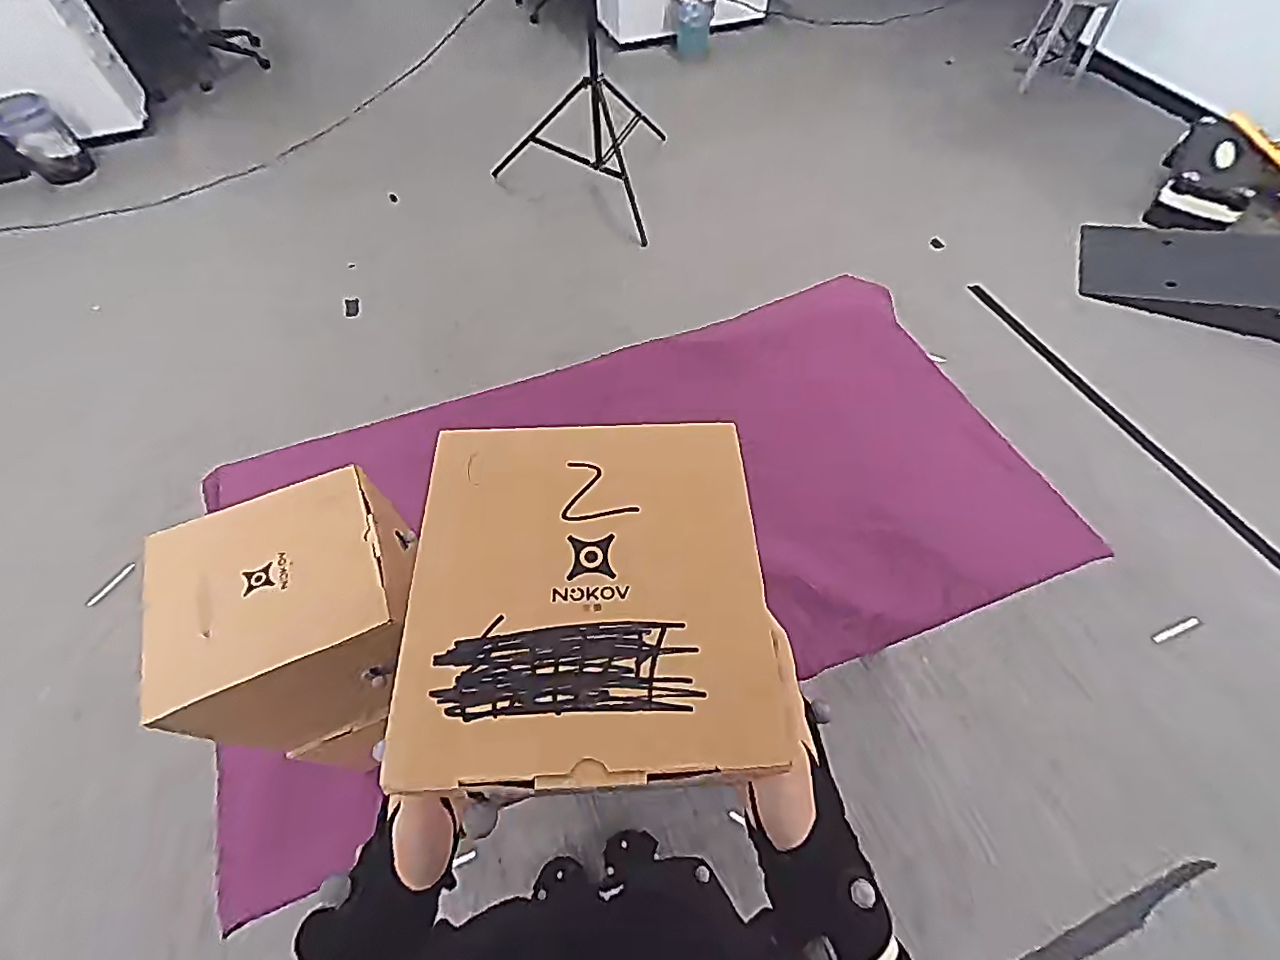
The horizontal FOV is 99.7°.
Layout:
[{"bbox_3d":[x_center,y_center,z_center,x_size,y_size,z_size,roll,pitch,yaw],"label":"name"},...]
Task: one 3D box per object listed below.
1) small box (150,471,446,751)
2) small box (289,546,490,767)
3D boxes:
[{"bbox_3d":[-0.298,0.126,0.504,0.179,0.176,0.168,-23,59,-13],"label":"small box"},{"bbox_3d":[-0.295,0.213,0.641,0.168,0.176,0.179,-22,60,-12],"label":"small box"}]
